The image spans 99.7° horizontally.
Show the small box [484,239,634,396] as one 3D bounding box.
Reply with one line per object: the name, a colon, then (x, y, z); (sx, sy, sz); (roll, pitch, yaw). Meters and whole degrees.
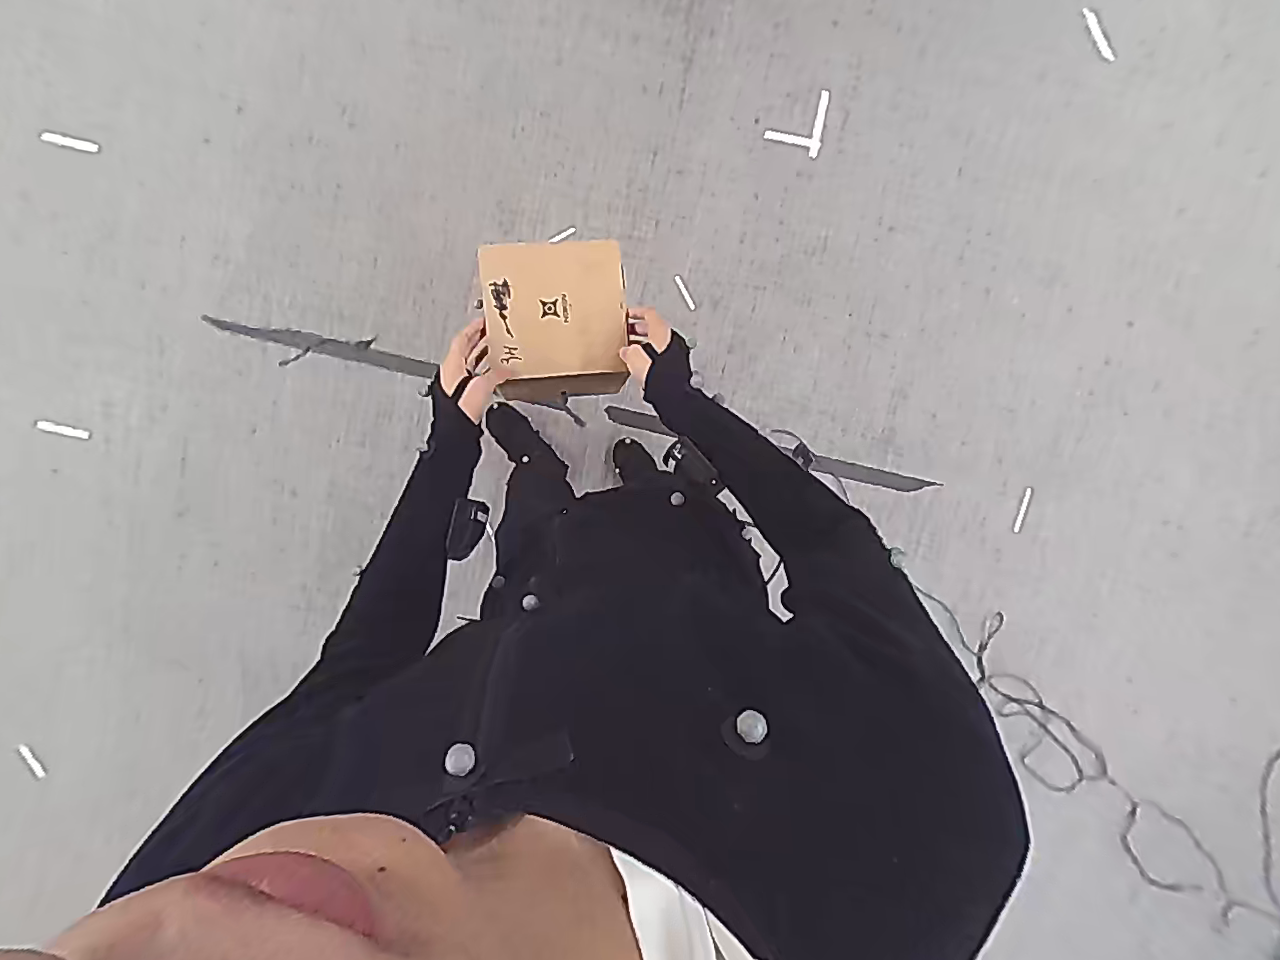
small box: (-0.112, -0.211, 0.739); (0.179, 0.176, 0.168); (-4, 90, -10)
